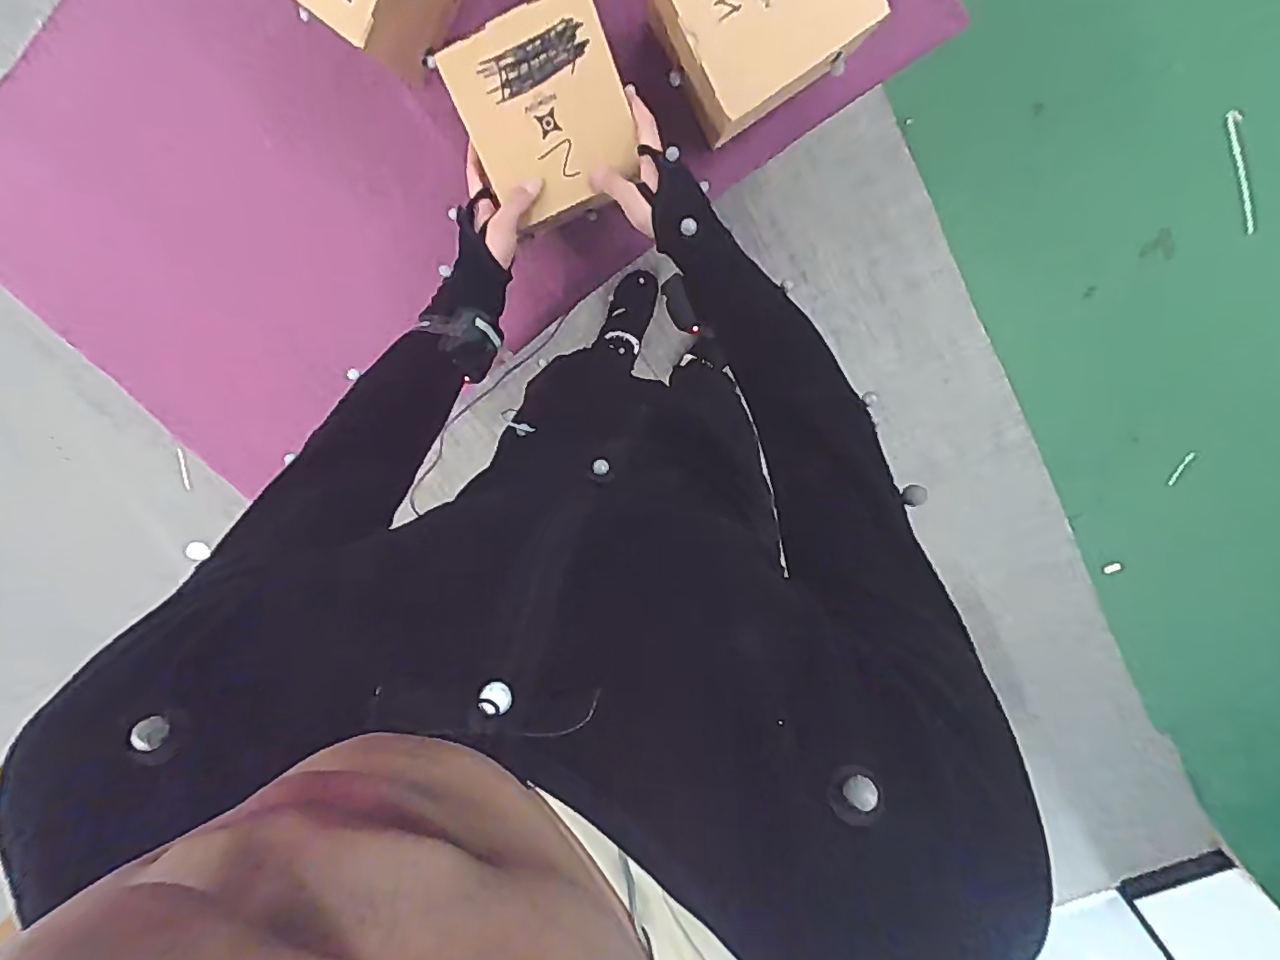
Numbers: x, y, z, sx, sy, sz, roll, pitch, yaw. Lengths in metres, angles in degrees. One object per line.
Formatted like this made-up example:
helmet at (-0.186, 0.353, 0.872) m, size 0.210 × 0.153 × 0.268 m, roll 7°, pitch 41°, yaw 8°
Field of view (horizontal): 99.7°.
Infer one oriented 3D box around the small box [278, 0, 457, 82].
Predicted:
small box at (-0.298, -0.551, 0.555) m, size 0.179 × 0.176 × 0.168 m, roll 33°, pitch 111°, yaw -14°

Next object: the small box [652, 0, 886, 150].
small box at (0.121, -0.488, 0.574) m, size 0.179 × 0.176 × 0.168 m, roll -29°, pitch 110°, yaw 14°
